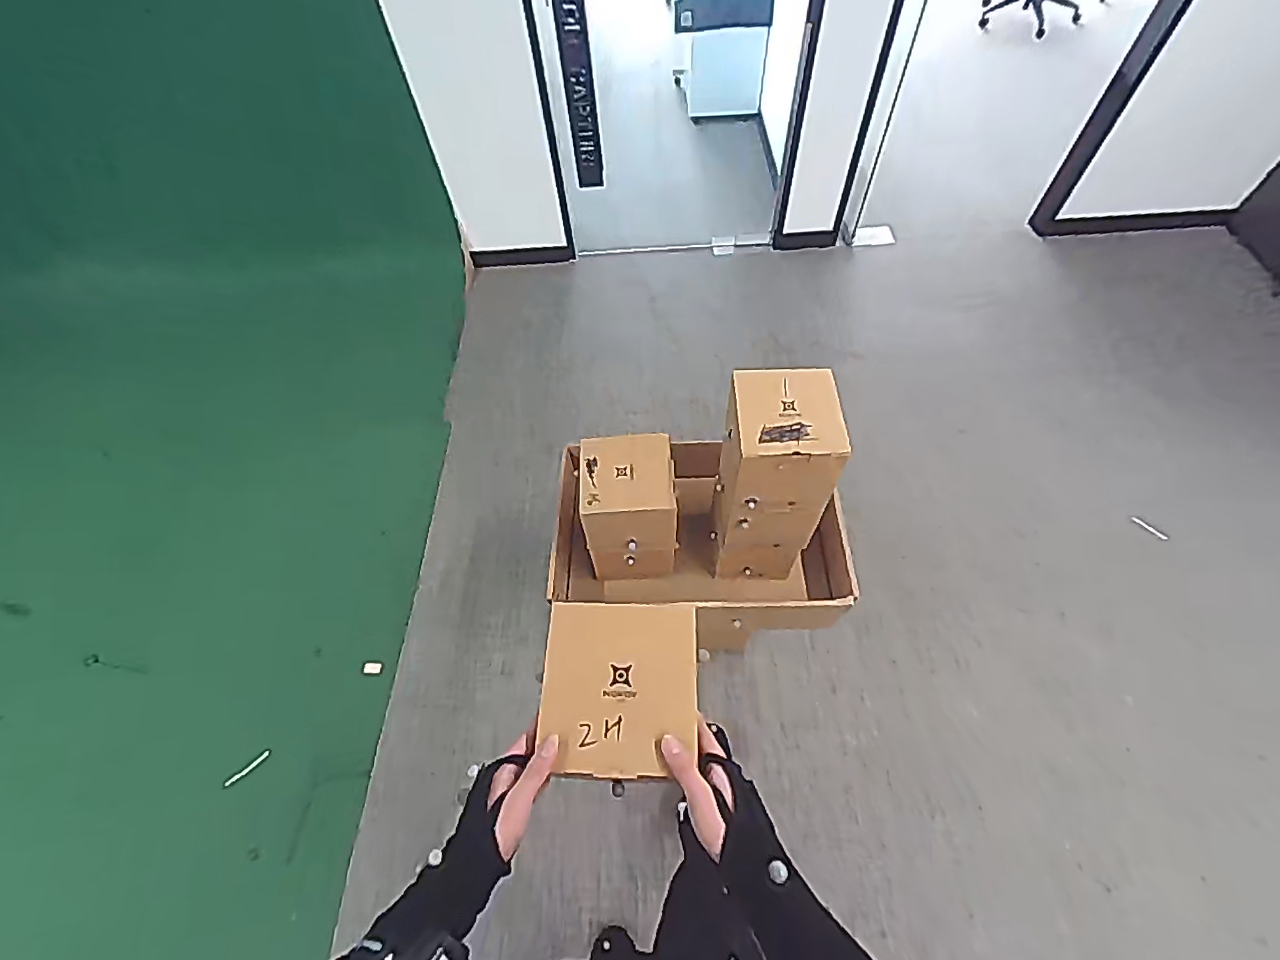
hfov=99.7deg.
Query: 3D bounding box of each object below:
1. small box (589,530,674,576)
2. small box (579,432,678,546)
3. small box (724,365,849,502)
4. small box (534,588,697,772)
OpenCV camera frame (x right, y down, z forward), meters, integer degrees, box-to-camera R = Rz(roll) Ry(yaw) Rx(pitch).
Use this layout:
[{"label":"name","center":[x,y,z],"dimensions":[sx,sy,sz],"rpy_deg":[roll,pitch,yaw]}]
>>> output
[{"label":"small box","center":[-0.015,0.108,1.203],"dimensions":[0.179,0.176,0.168],"rpy_deg":[-1,58,1]},{"label":"small box","center":[-0.021,0.022,1.063],"dimensions":[0.179,0.176,0.168],"rpy_deg":[-3,58,1]},{"label":"small box","center":[0.236,-0.073,0.915],"dimensions":[0.168,0.176,0.179],"rpy_deg":[0,57,2]},{"label":"small box","center":[-0.021,0.243,0.647],"dimensions":[0.168,0.176,0.179],"rpy_deg":[2,60,2]}]
